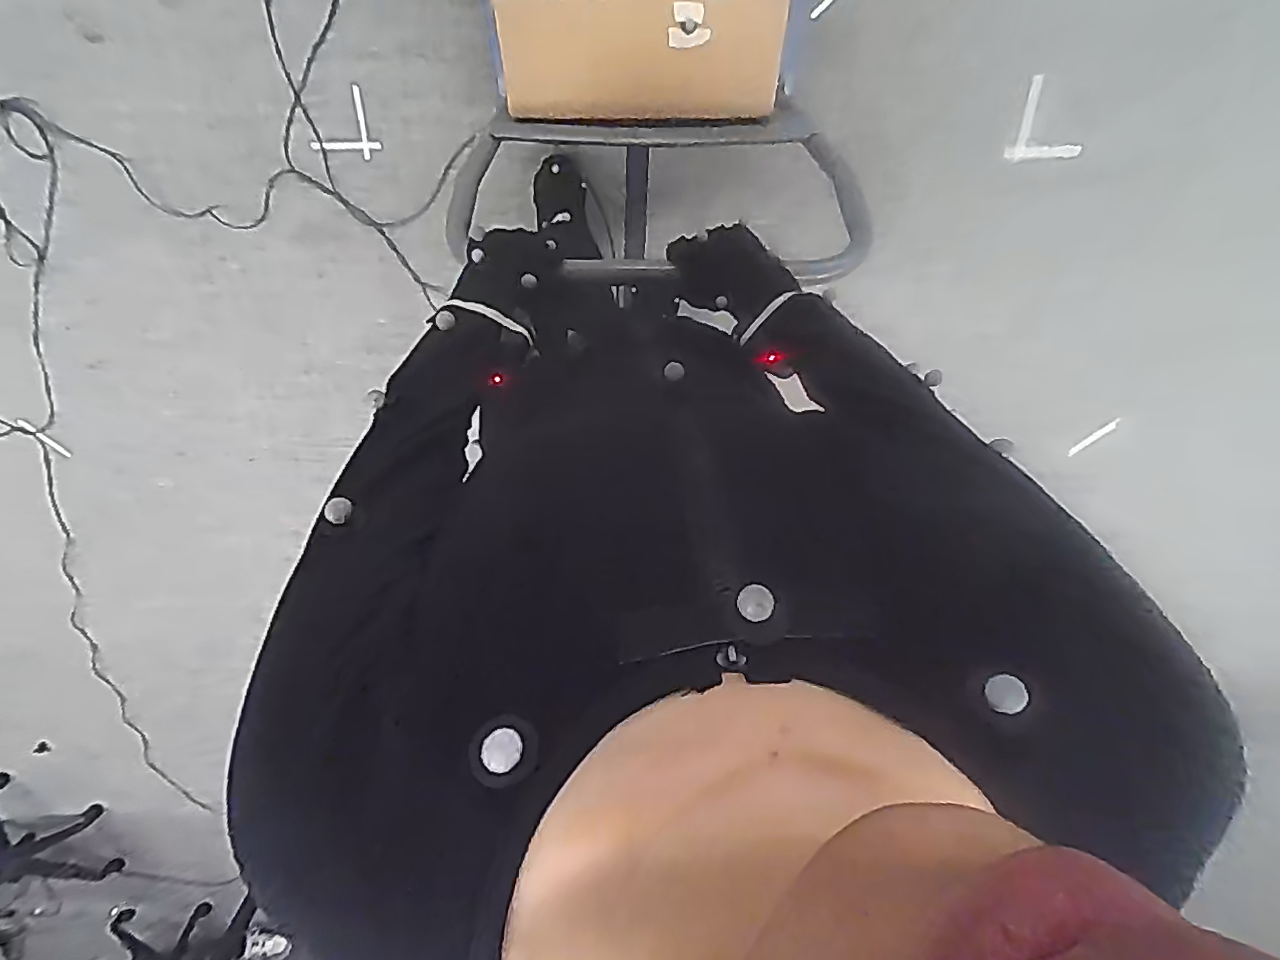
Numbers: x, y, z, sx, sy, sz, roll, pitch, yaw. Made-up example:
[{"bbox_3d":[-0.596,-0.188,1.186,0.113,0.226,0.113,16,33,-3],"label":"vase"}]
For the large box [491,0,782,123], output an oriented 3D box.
[{"bbox_3d":[-0.011,-0.763,0.827,0.408,0.320,0.320,-1,134,-2],"label":"large box"}]
